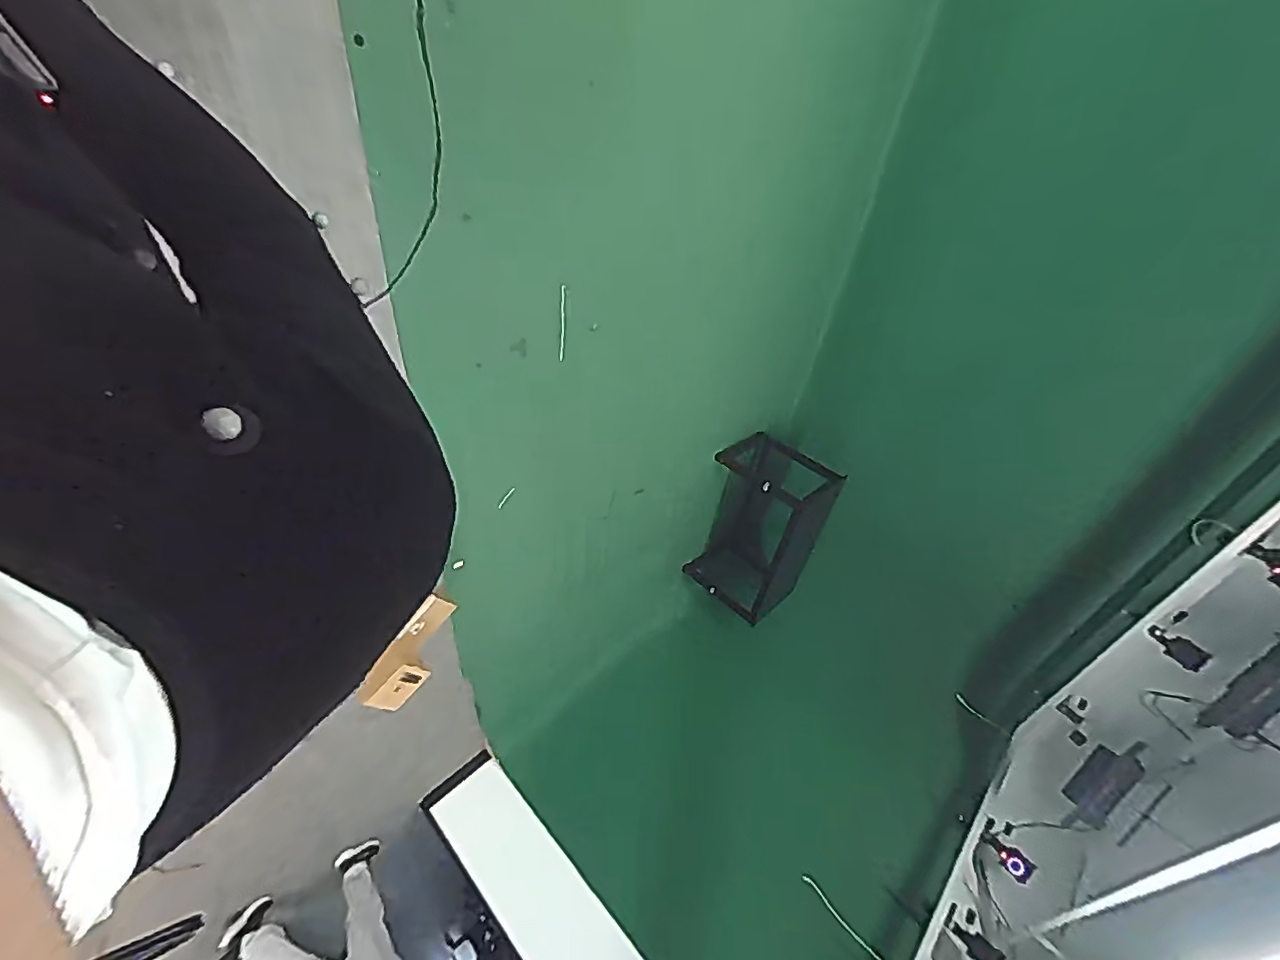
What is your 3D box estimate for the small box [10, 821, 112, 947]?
[{"bbox_3d":[-1.525,1.056,1.428,0.168,0.176,0.179,-10,127,-51],"label":"small box"}]
